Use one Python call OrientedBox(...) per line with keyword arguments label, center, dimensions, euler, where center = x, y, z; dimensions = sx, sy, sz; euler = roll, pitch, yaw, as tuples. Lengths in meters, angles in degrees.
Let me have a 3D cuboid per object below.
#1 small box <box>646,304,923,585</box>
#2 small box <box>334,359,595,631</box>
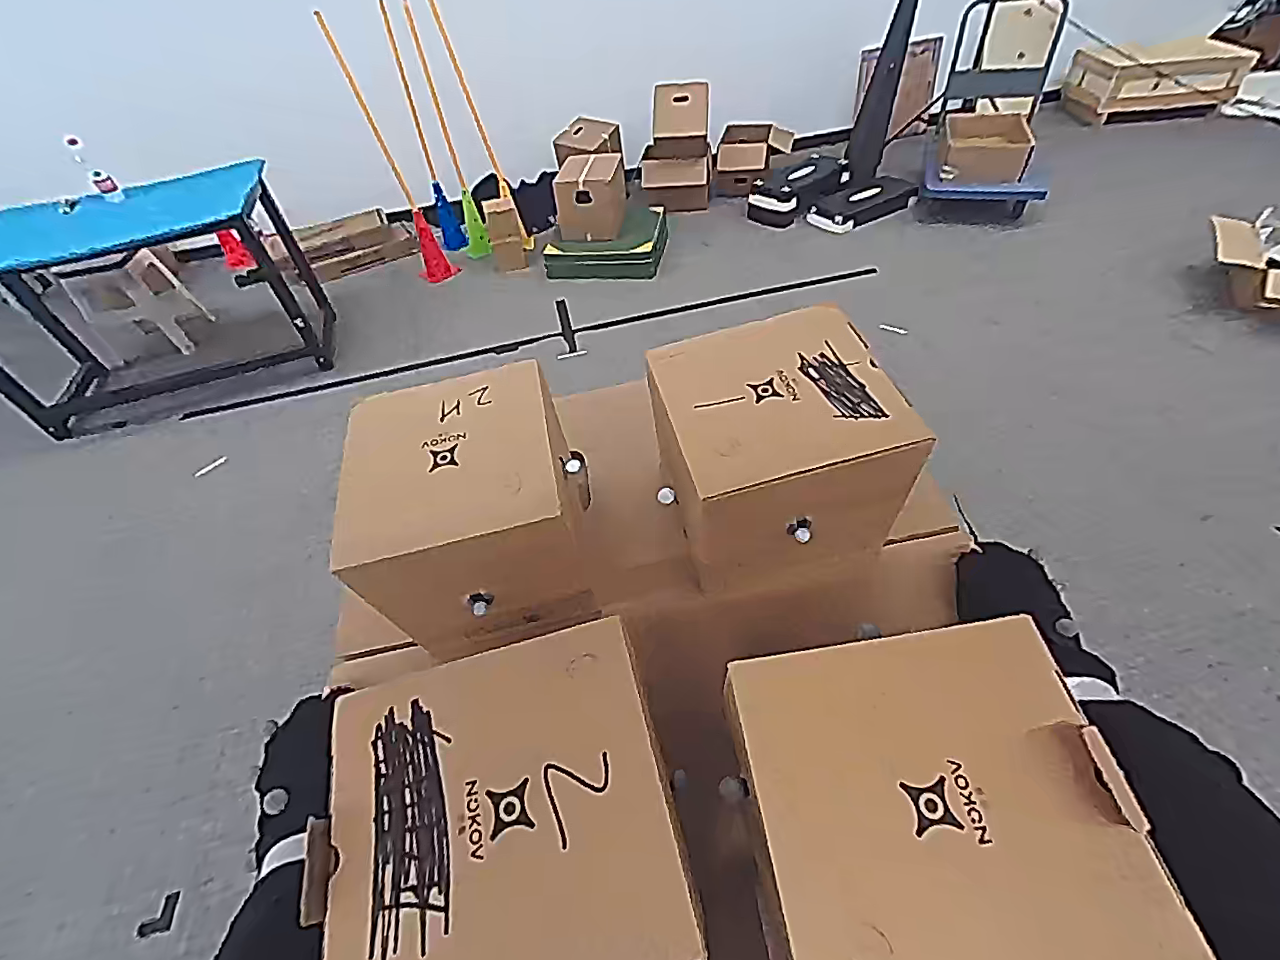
OrientedBox(label="small box", center=(0.112, -0.025, 0.492), dimensions=(0.179, 0.176, 0.168), euler=(-14, 54, -1))
OrientedBox(label="small box", center=(-0.143, 0.023, 0.495), dimensions=(0.168, 0.176, 0.179), euler=(-13, 53, -2))
